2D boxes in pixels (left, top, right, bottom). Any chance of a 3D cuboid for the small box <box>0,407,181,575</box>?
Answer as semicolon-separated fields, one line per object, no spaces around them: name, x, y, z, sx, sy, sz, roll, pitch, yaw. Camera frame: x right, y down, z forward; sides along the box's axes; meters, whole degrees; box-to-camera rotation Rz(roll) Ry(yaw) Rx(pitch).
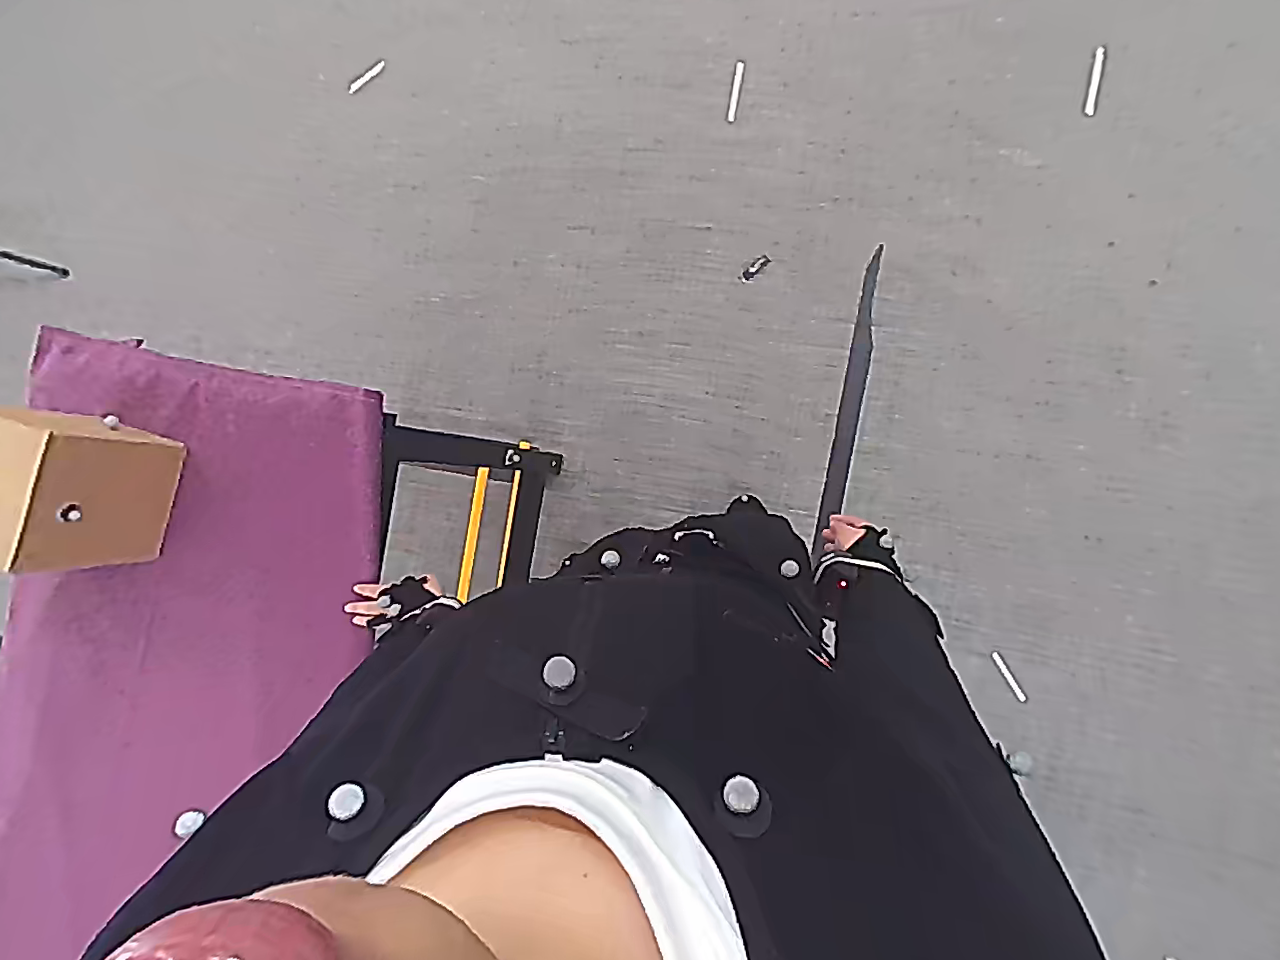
small box;-0.774;0.011;0.726;0.168;0.176;0.179;16;90;9
